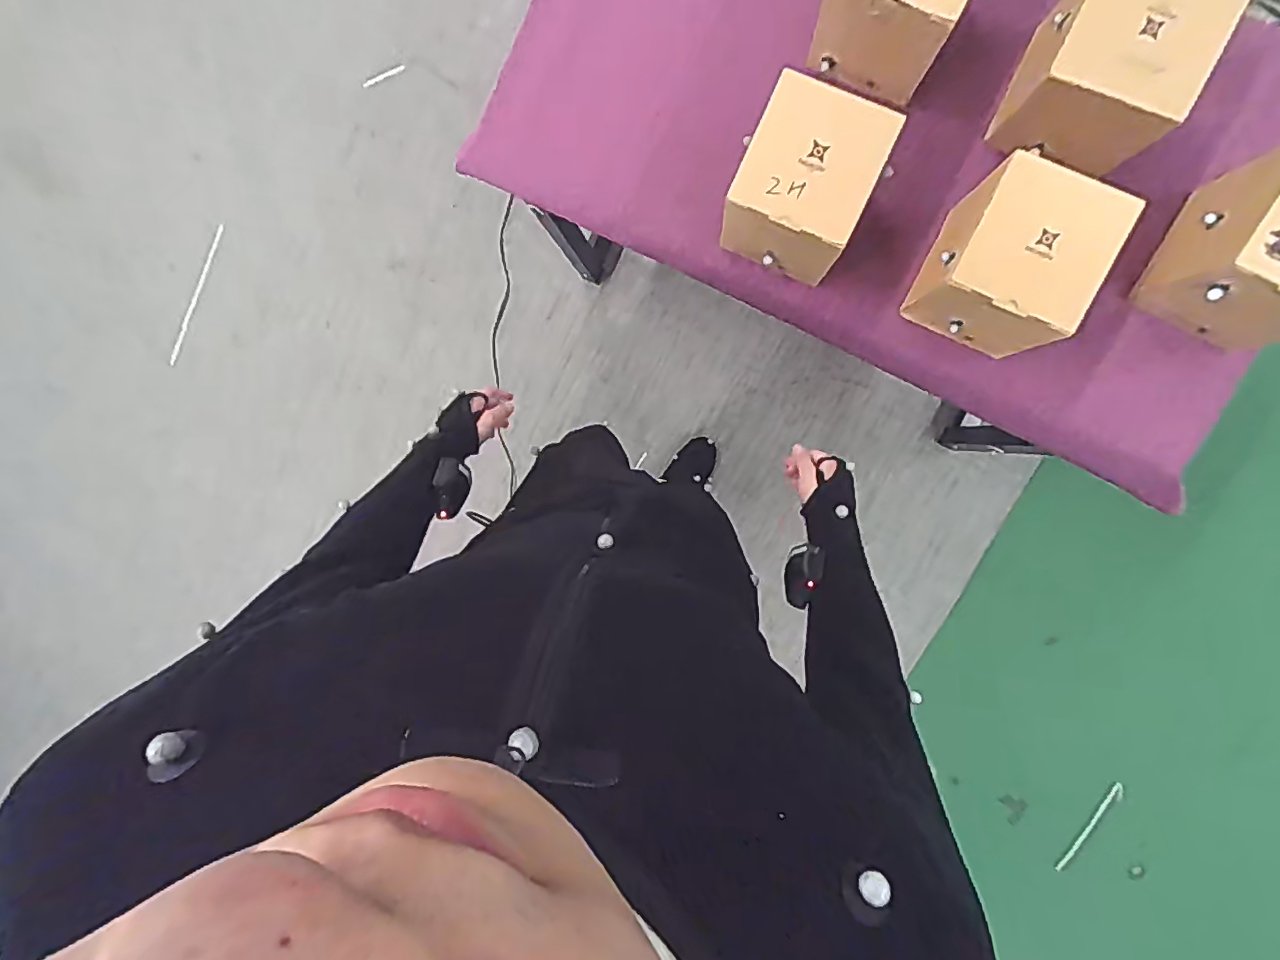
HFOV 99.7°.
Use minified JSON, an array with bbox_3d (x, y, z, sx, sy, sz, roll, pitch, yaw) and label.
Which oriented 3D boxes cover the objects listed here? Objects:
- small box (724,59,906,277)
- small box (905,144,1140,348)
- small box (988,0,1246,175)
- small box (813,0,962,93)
[{"bbox_3d":[0.225,-0.416,0.753,0.168,0.176,0.179,26,96,3],"label":"small box"},{"bbox_3d":[0.498,-0.302,0.739,0.168,0.176,0.179,26,97,3],"label":"small box"},{"bbox_3d":[0.603,-0.542,0.707,0.168,0.176,0.179,25,98,4],"label":"small box"},{"bbox_3d":[0.349,-0.671,0.719,0.168,0.176,0.179,26,97,3],"label":"small box"}]
